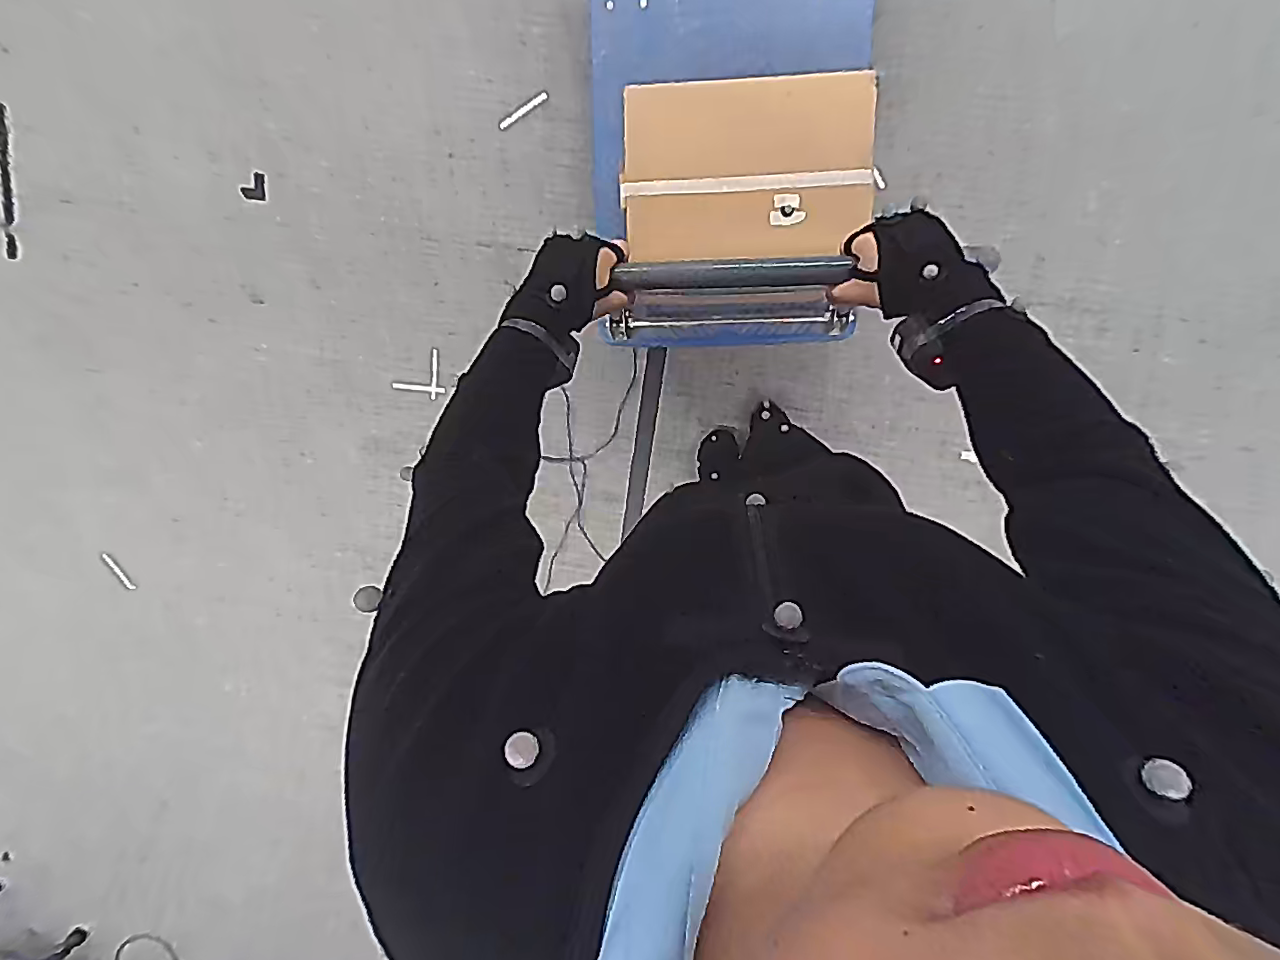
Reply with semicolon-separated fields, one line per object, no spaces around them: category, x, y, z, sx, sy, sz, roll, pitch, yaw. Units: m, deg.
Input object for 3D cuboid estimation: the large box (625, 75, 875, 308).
large box;0.186;-0.516;1.040;0.408;0.320;0.320;0;102;4
